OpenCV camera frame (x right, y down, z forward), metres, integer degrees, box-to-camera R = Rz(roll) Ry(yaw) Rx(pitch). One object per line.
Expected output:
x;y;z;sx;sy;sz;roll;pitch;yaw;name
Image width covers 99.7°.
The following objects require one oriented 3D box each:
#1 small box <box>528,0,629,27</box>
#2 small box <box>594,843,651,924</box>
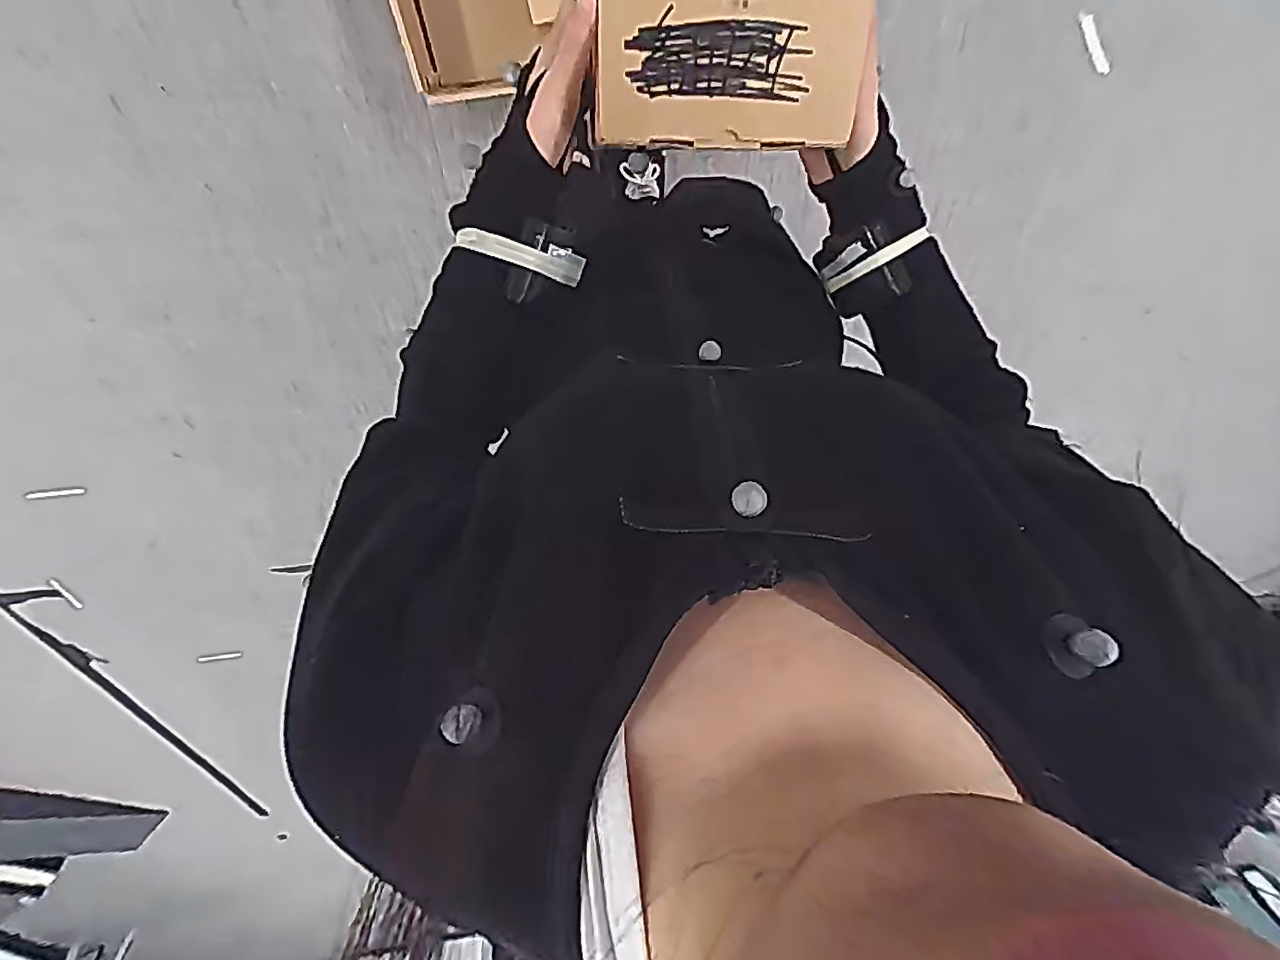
-0.122;-0.884;0.898;0.168;0.176;0.179;-13;130;2;small box
-0.060;1.315;1.764;0.168;0.176;0.179;-5;130;-7;small box
